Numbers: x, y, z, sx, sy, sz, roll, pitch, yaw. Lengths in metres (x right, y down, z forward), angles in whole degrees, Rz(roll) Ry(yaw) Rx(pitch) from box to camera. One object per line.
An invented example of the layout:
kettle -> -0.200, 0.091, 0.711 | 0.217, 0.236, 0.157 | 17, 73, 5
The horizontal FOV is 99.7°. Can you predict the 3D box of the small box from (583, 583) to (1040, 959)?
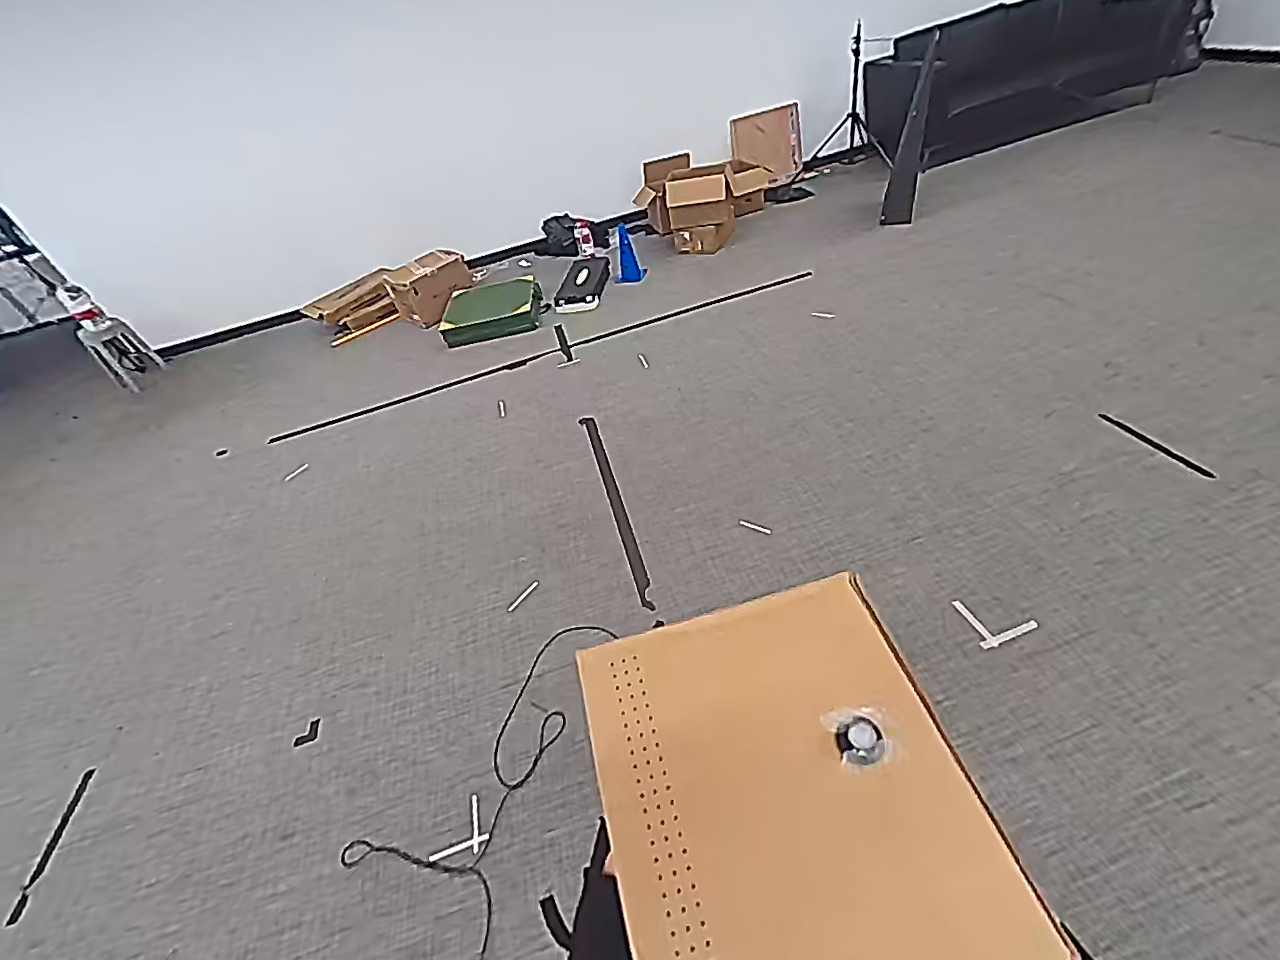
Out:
small box -> 0.070, 0.194, 0.324 | 0.176, 0.168, 0.179 | -16, 51, -3
